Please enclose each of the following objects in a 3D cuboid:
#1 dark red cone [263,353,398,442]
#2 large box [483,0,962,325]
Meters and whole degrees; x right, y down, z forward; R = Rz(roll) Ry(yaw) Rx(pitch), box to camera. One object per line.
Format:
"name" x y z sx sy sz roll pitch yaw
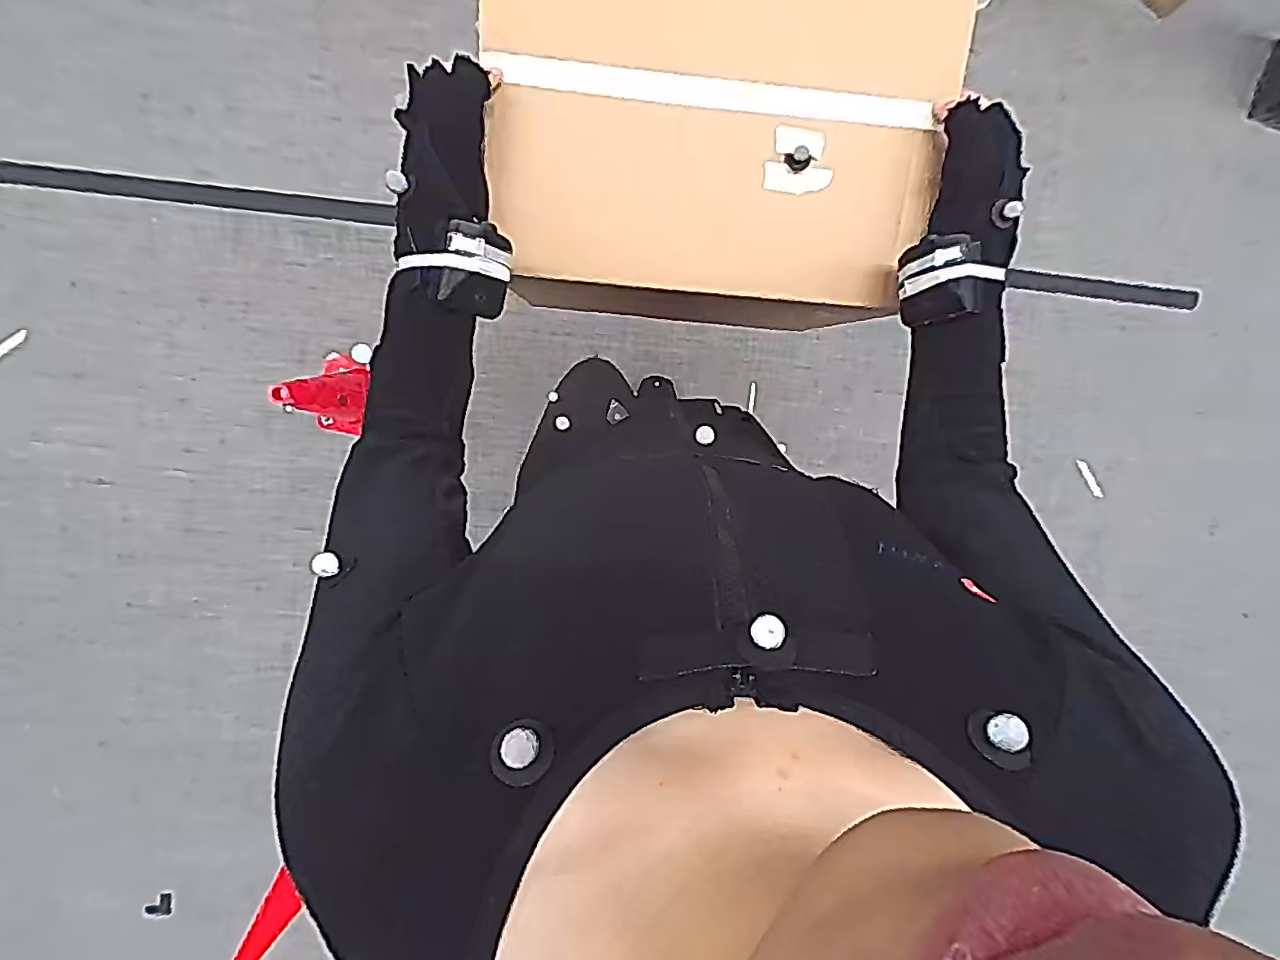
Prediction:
"dark red cone" -0.708 -0.188 1.205 0.201 0.394 0.202 11 96 -6
"large box" 0.057 -0.356 0.603 0.408 0.320 0.320 3 102 -5
